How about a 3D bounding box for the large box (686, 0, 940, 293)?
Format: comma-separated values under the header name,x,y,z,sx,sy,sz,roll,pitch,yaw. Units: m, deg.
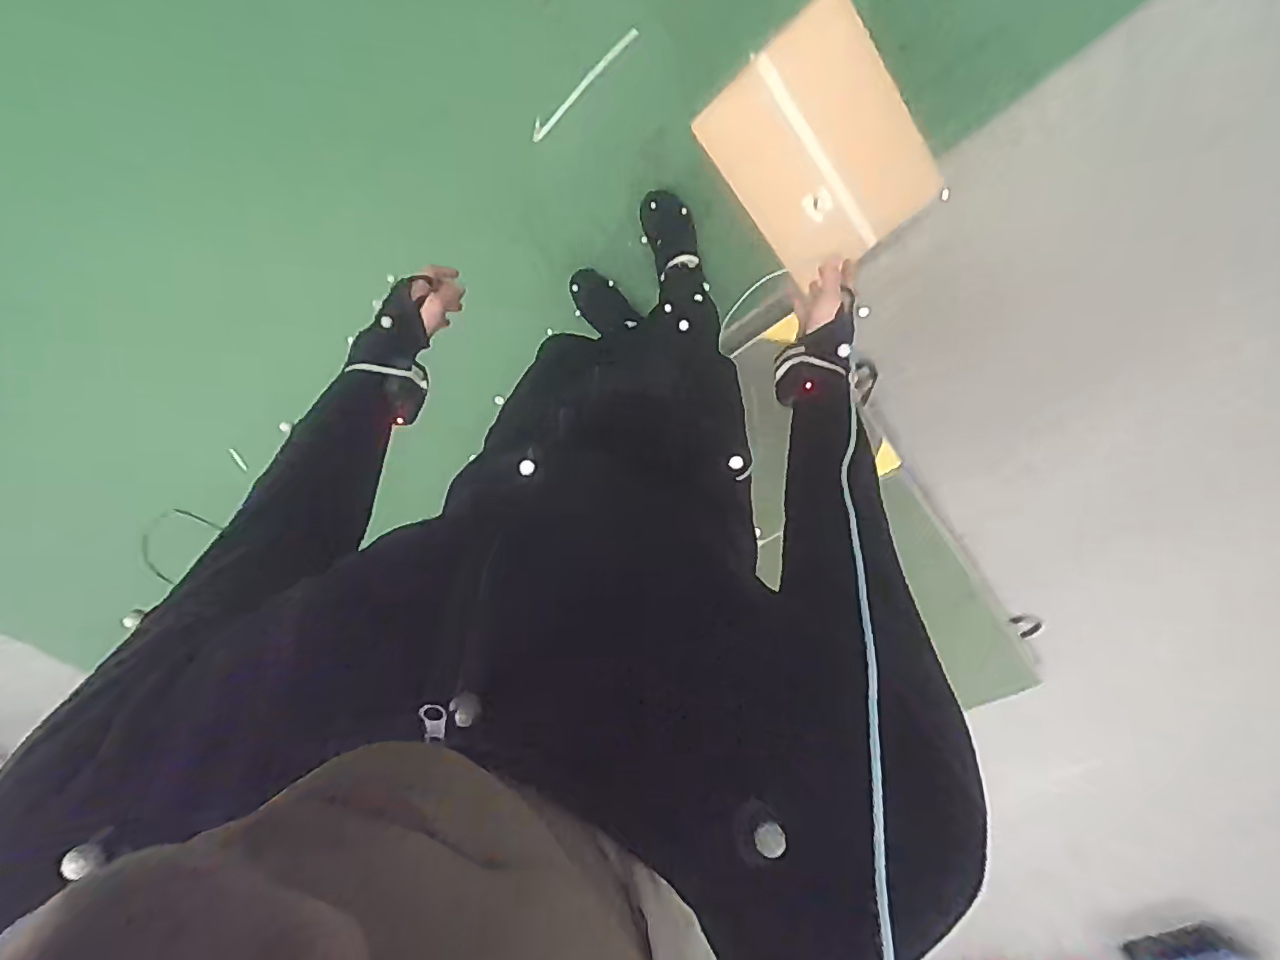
name,x,y,z,sx,sy,sz,roll,pitch,yaw
large box,0.340,-0.684,1.149,0.320,0.320,0.408,-35,113,23
